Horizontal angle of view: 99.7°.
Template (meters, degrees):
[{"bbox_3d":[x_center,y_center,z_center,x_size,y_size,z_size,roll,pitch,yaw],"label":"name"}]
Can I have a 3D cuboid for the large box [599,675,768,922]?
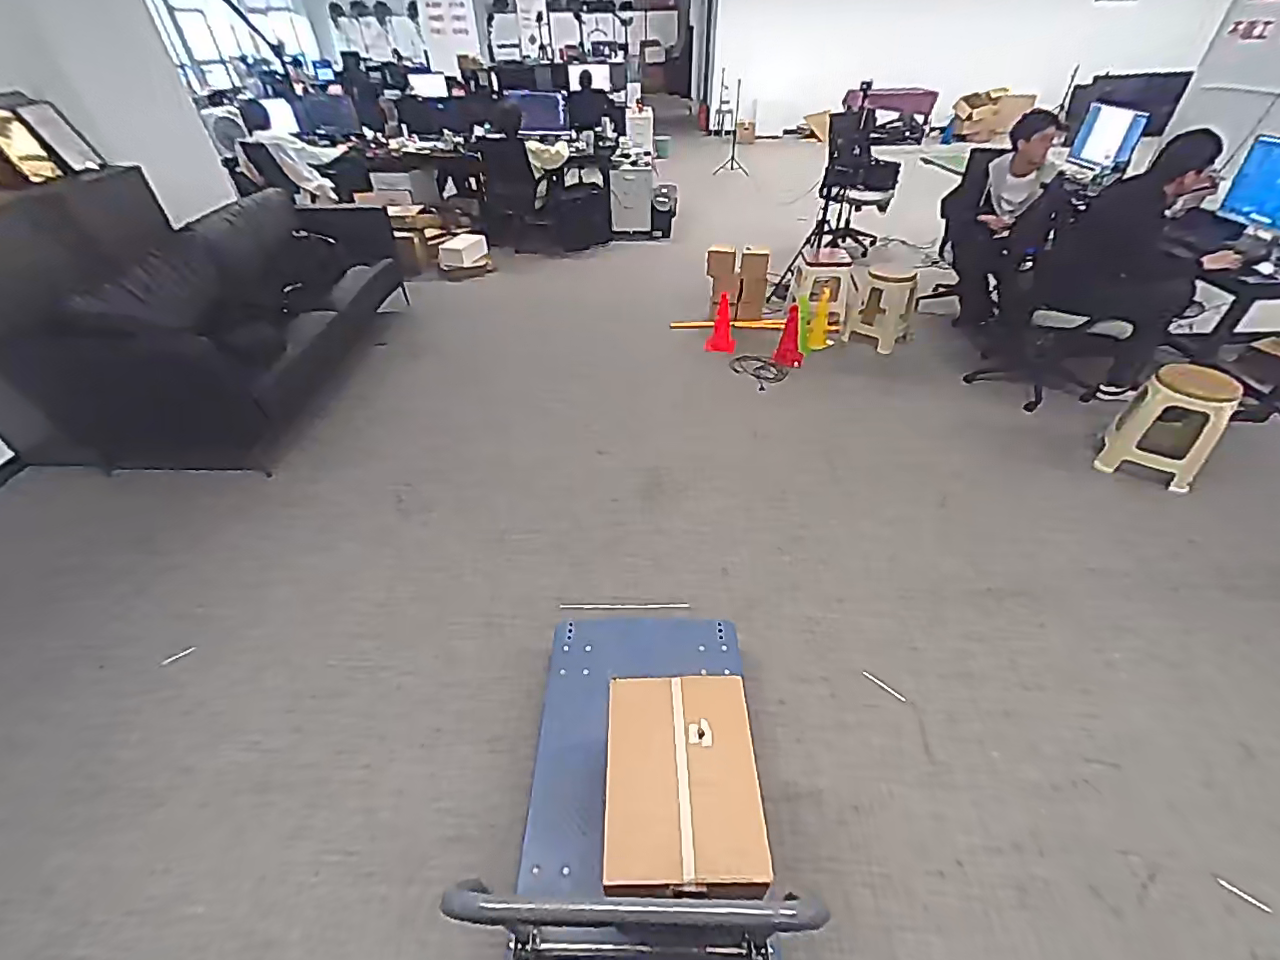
[{"bbox_3d":[0.080,0.707,1.218,0.320,0.320,0.408,-1,40,0],"label":"large box"}]
